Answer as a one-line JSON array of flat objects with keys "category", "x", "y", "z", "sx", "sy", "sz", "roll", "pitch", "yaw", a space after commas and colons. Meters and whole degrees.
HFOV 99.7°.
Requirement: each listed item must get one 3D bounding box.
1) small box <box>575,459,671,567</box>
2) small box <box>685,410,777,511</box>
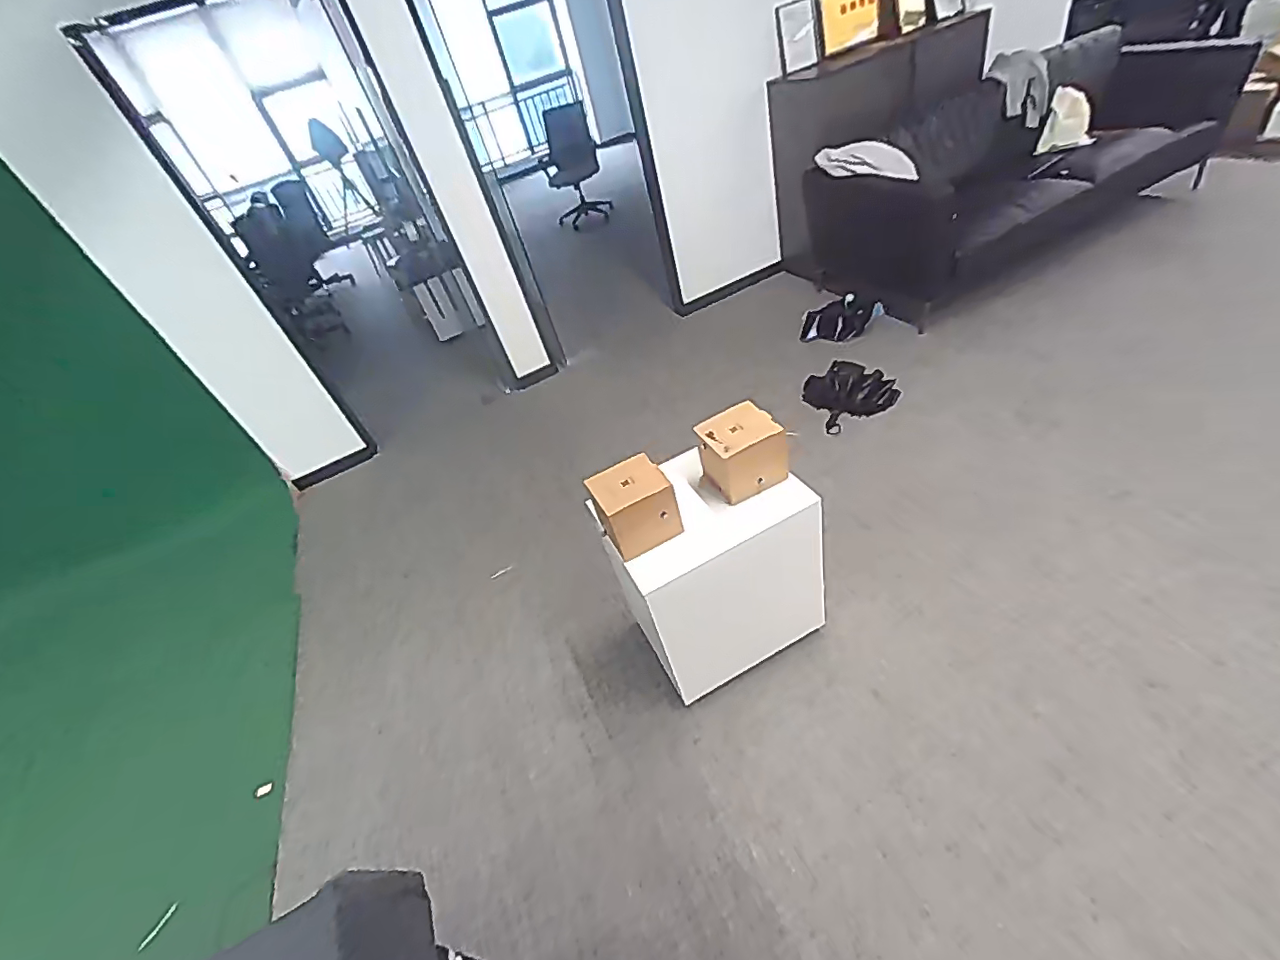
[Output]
[{"category": "small box", "x": -0.037, "y": 0.081, "z": 1.343, "sx": 0.179, "sy": 0.176, "sz": 0.168, "roll": -27, "pitch": 39, "yaw": -15}, {"category": "small box", "x": 0.239, "y": -0.051, "z": 1.412, "sx": 0.179, "sy": 0.176, "sz": 0.168, "roll": -25, "pitch": 40, "yaw": -12}]
